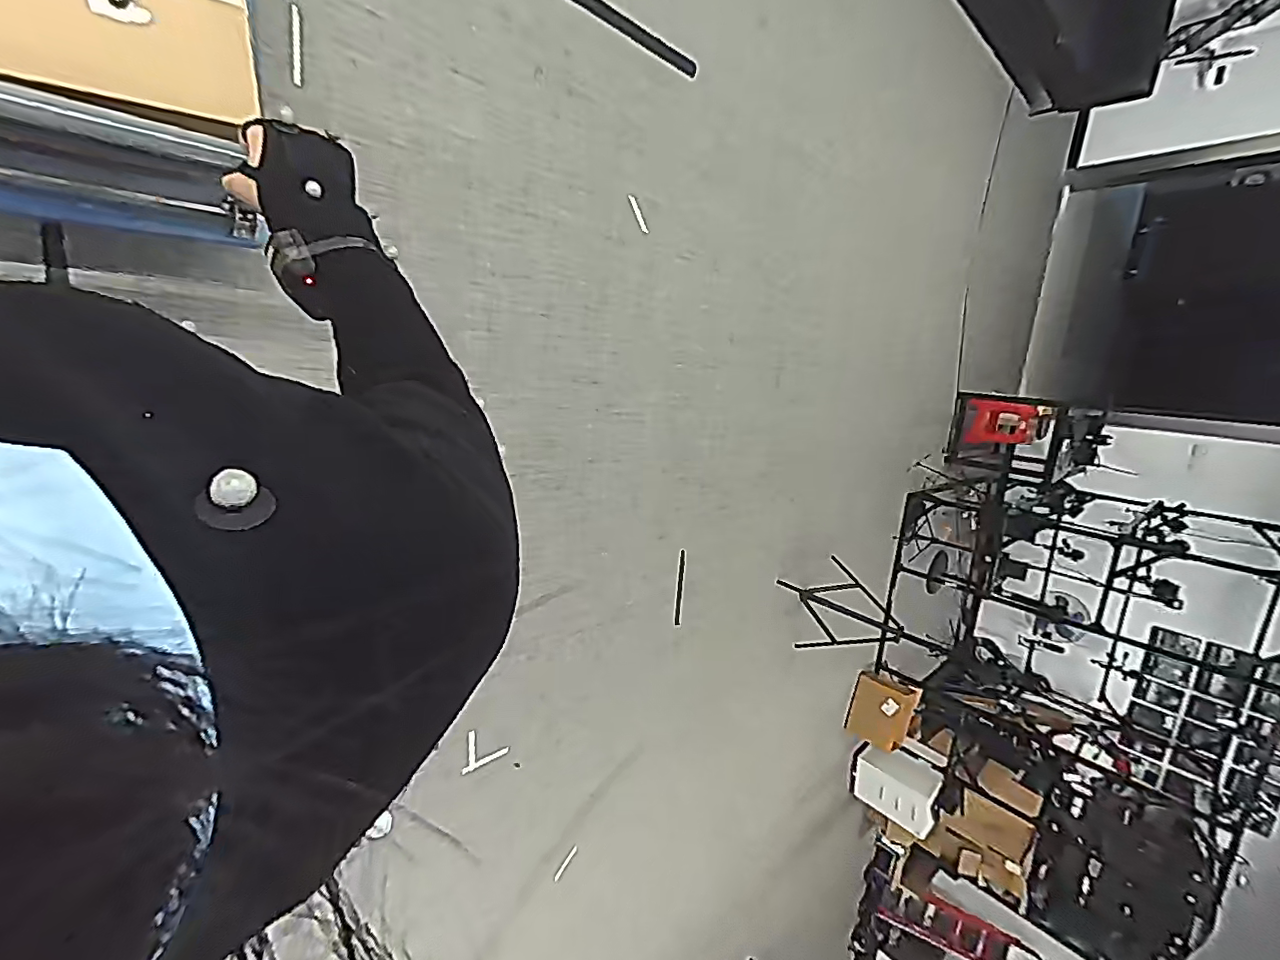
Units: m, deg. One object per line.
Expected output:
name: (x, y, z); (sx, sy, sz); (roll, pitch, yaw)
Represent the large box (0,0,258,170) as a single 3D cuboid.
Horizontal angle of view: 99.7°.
large box: (-0.807, -0.651, 0.723); (0.408, 0.320, 0.320); (-14, 111, -43)
